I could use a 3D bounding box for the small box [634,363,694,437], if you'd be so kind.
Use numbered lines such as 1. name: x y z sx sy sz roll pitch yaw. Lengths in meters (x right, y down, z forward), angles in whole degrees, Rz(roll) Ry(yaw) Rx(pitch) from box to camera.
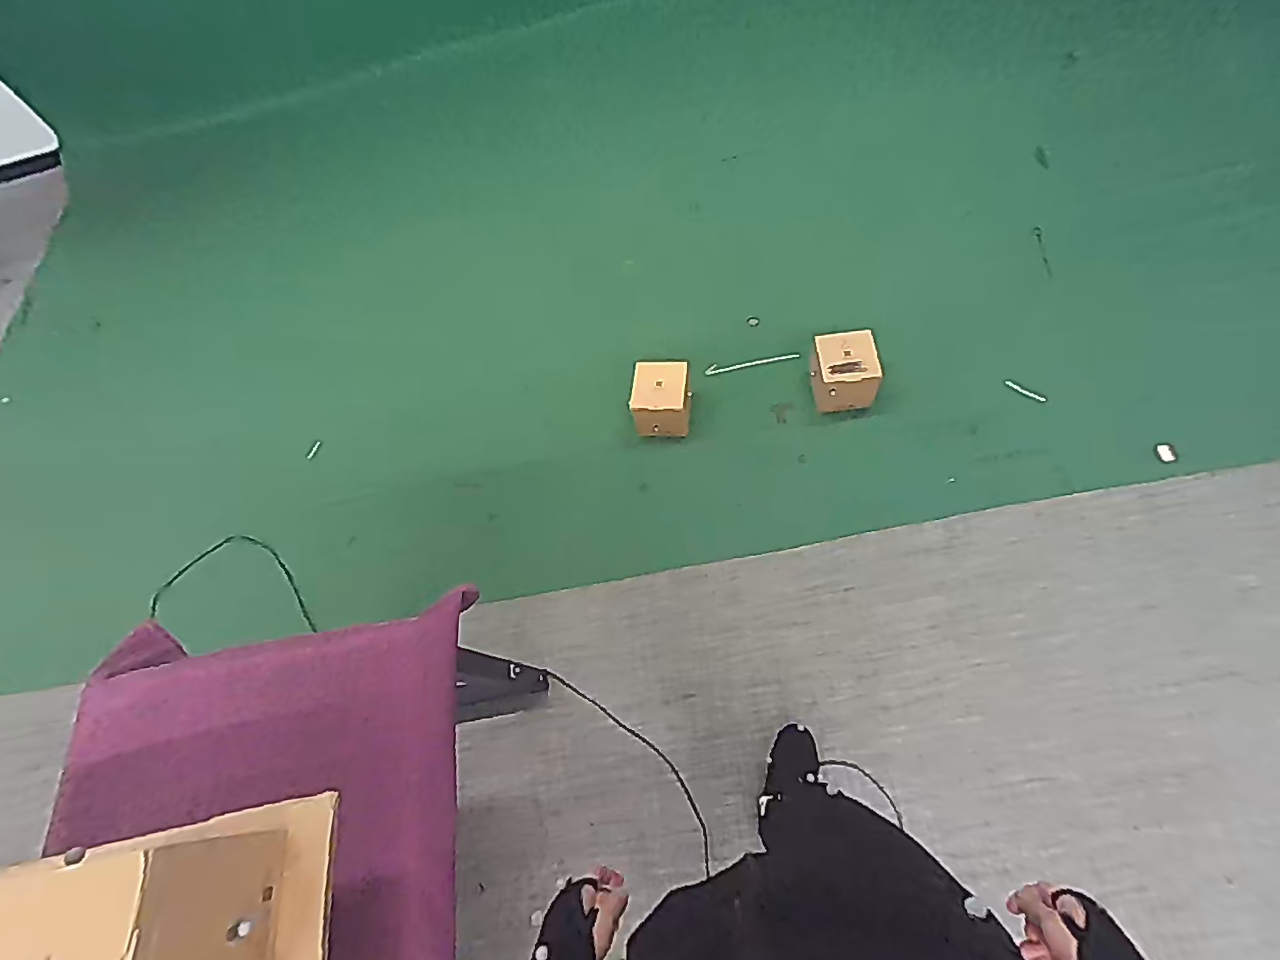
1. small box: 0.083 -0.257 1.737 0.168 0.176 0.179 2 67 12

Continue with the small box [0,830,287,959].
1. small box: -0.487 0.451 0.517 0.179 0.176 0.168 -14 62 3
